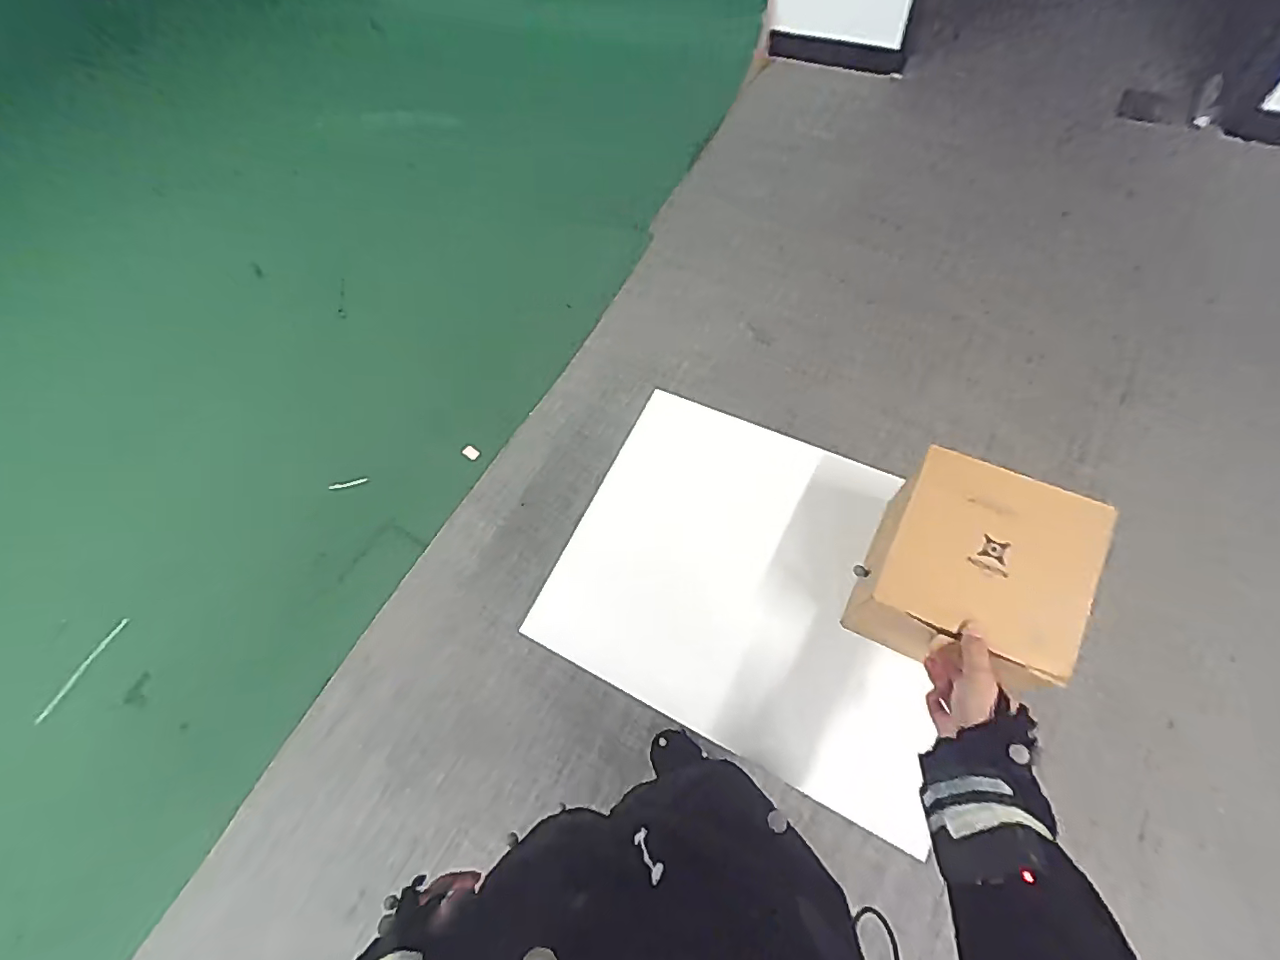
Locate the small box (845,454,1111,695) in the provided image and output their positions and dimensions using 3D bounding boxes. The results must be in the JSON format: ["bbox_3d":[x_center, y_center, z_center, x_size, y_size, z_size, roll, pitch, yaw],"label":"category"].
[{"bbox_3d":[0.330,0.107,0.564,0.168,0.176,0.179,23,72,17],"label":"small box"}]
